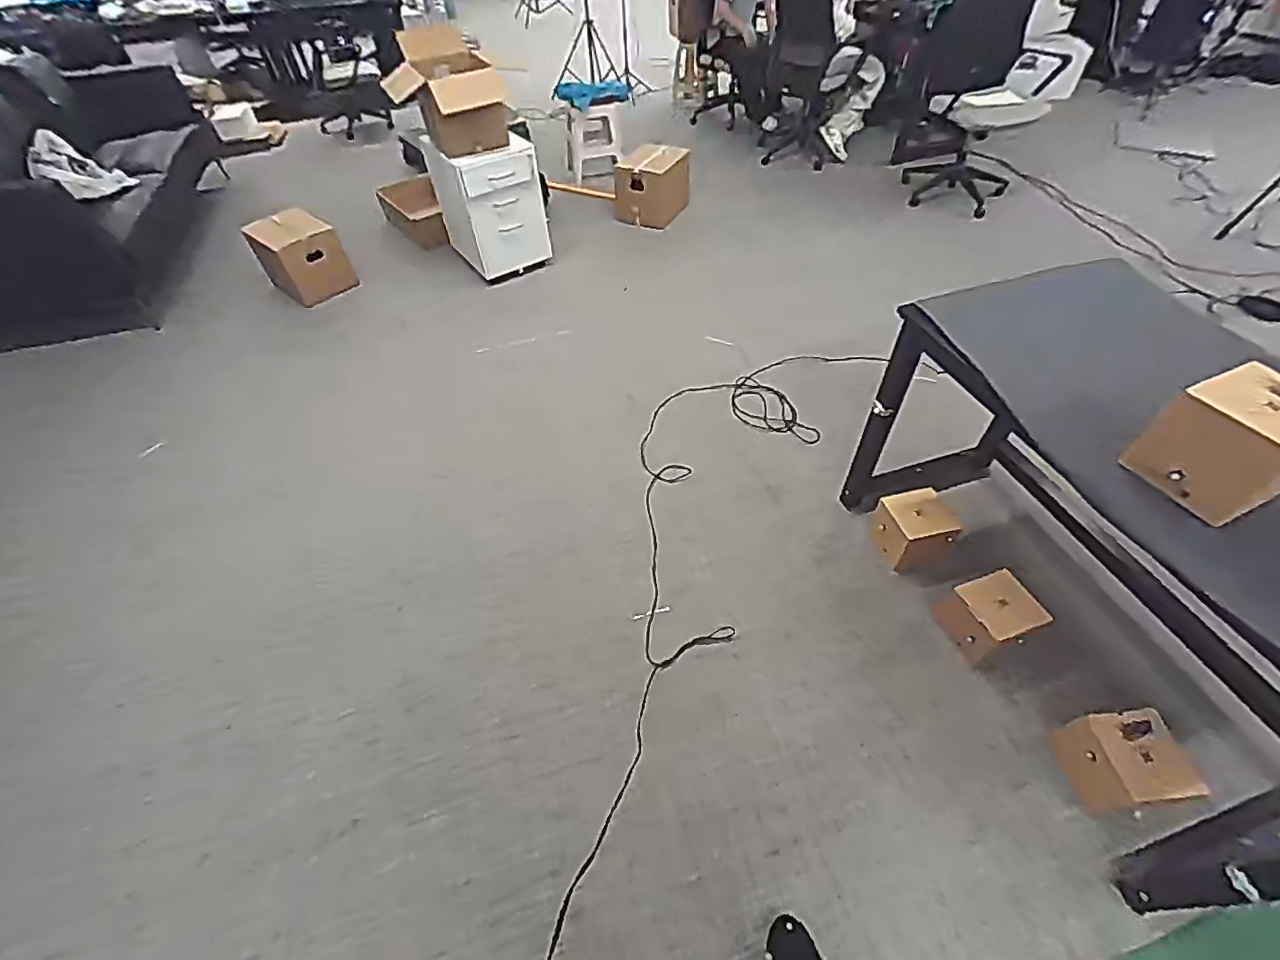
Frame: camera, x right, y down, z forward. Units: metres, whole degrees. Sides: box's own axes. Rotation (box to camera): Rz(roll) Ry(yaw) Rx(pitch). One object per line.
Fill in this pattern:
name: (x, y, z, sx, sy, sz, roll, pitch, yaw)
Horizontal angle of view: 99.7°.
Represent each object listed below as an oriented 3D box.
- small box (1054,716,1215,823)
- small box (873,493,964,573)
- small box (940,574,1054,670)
small box: (1.090, 0.652, 1.215, 0.168, 0.176, 0.179, -5, 50, 0)
small box: (0.844, 0.167, 1.666, 0.179, 0.176, 0.168, -11, 48, -7)
small box: (0.947, 0.388, 1.461, 0.179, 0.176, 0.168, -16, 50, -11)
